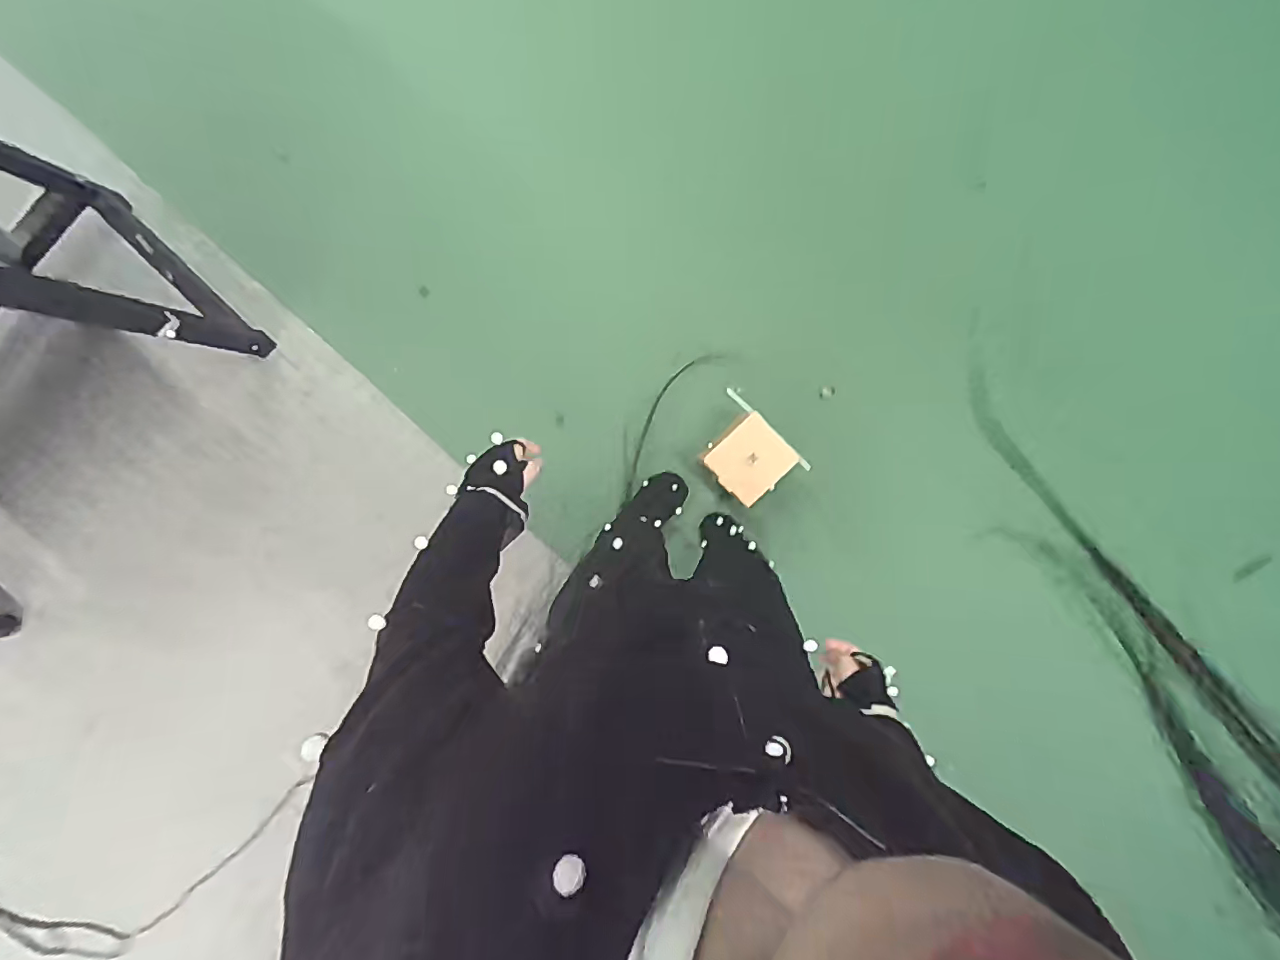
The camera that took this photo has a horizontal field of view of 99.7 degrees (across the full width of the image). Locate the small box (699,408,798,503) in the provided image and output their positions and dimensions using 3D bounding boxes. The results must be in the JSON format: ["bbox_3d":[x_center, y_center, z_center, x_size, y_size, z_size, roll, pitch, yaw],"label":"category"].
[{"bbox_3d":[0.268,-0.067,1.392,0.179,0.176,0.168,-44,94,5],"label":"small box"}]
